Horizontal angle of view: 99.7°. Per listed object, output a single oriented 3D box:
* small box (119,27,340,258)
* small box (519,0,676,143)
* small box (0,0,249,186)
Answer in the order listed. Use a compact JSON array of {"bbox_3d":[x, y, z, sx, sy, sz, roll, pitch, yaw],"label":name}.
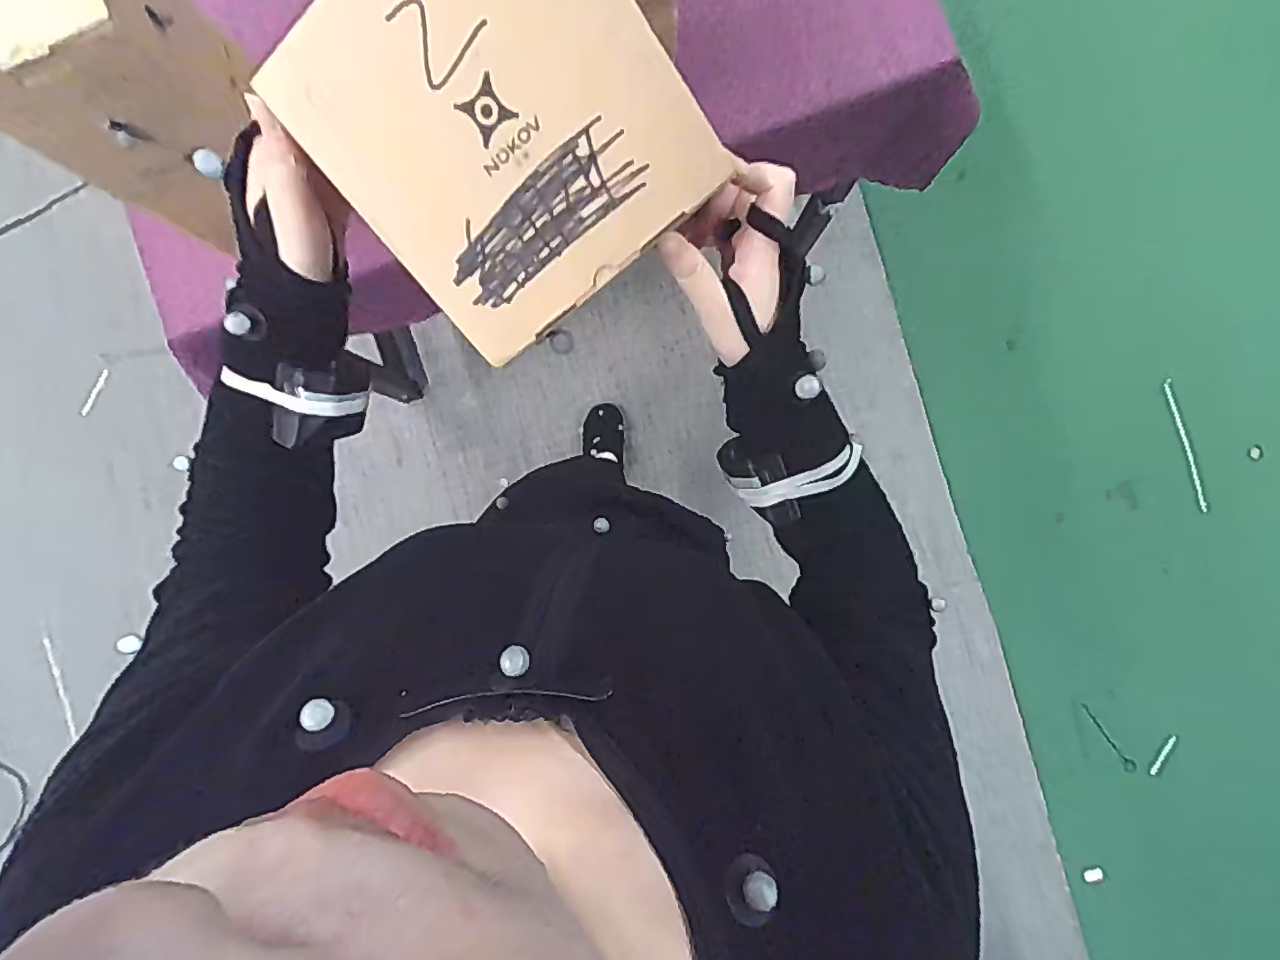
[{"bbox_3d":[-0.537,-0.421,0.706,0.179,0.176,0.168,-20,87,-2],"label":"small box"},{"bbox_3d":[-0.057,-0.576,0.700,0.168,0.176,0.179,-17,88,0],"label":"small box"},{"bbox_3d":[-0.544,-0.429,0.541,0.168,0.176,0.179,-21,88,-1],"label":"small box"}]
